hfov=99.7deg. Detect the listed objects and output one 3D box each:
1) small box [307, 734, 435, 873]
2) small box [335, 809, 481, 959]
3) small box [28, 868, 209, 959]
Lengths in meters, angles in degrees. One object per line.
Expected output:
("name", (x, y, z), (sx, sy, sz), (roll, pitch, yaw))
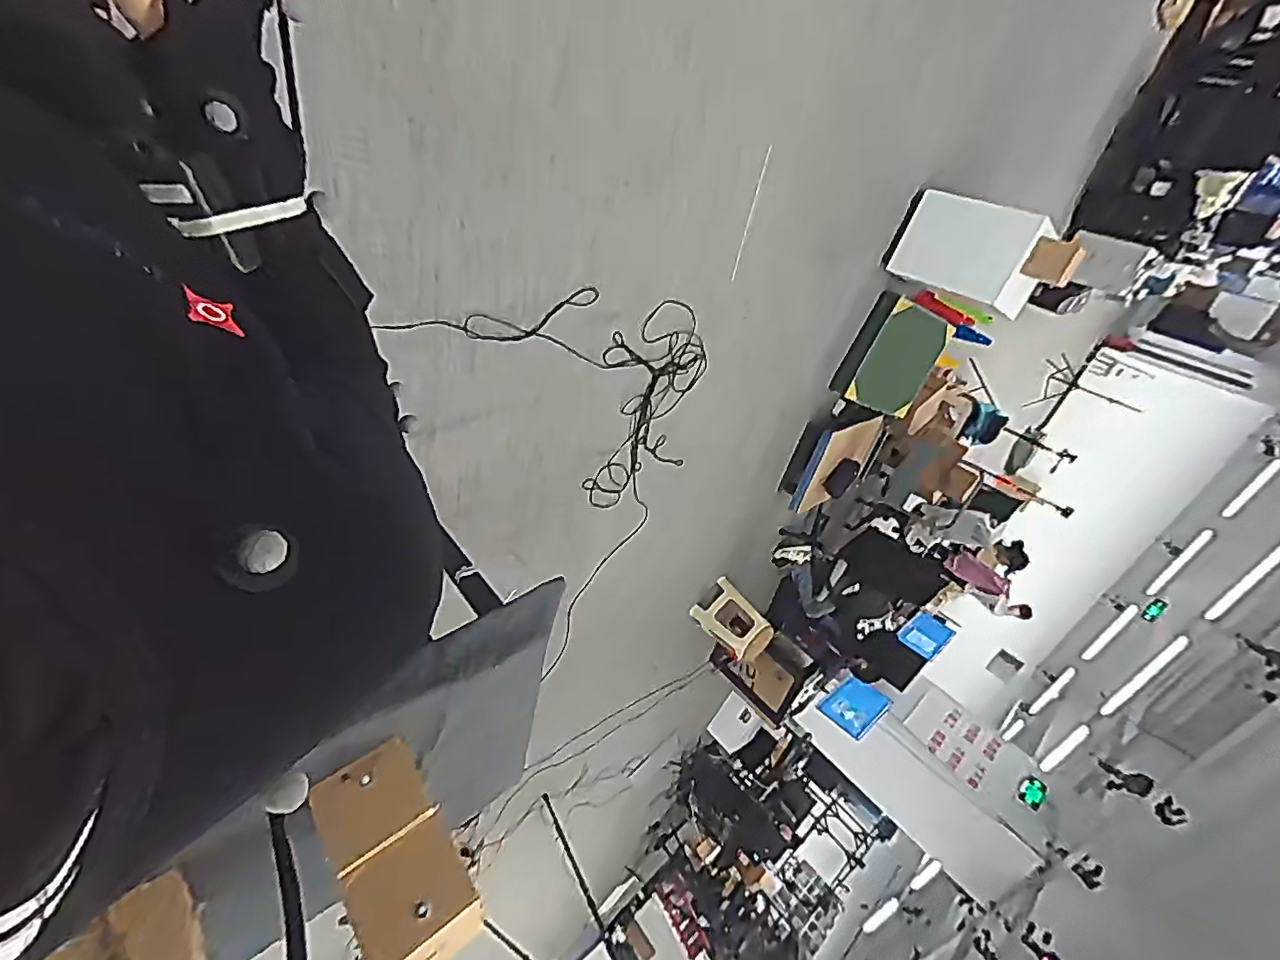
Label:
("small box", (-0.494, 0.619, 1.016), (0.168, 0.176, 0.179), (-26, 139, -34))
("small box", (-0.394, 0.718, 0.934), (0.179, 0.176, 0.168), (-22, 136, -36))
("small box", (-0.762, 0.729, 0.803), (0.168, 0.176, 0.179), (-17, 133, -41))
